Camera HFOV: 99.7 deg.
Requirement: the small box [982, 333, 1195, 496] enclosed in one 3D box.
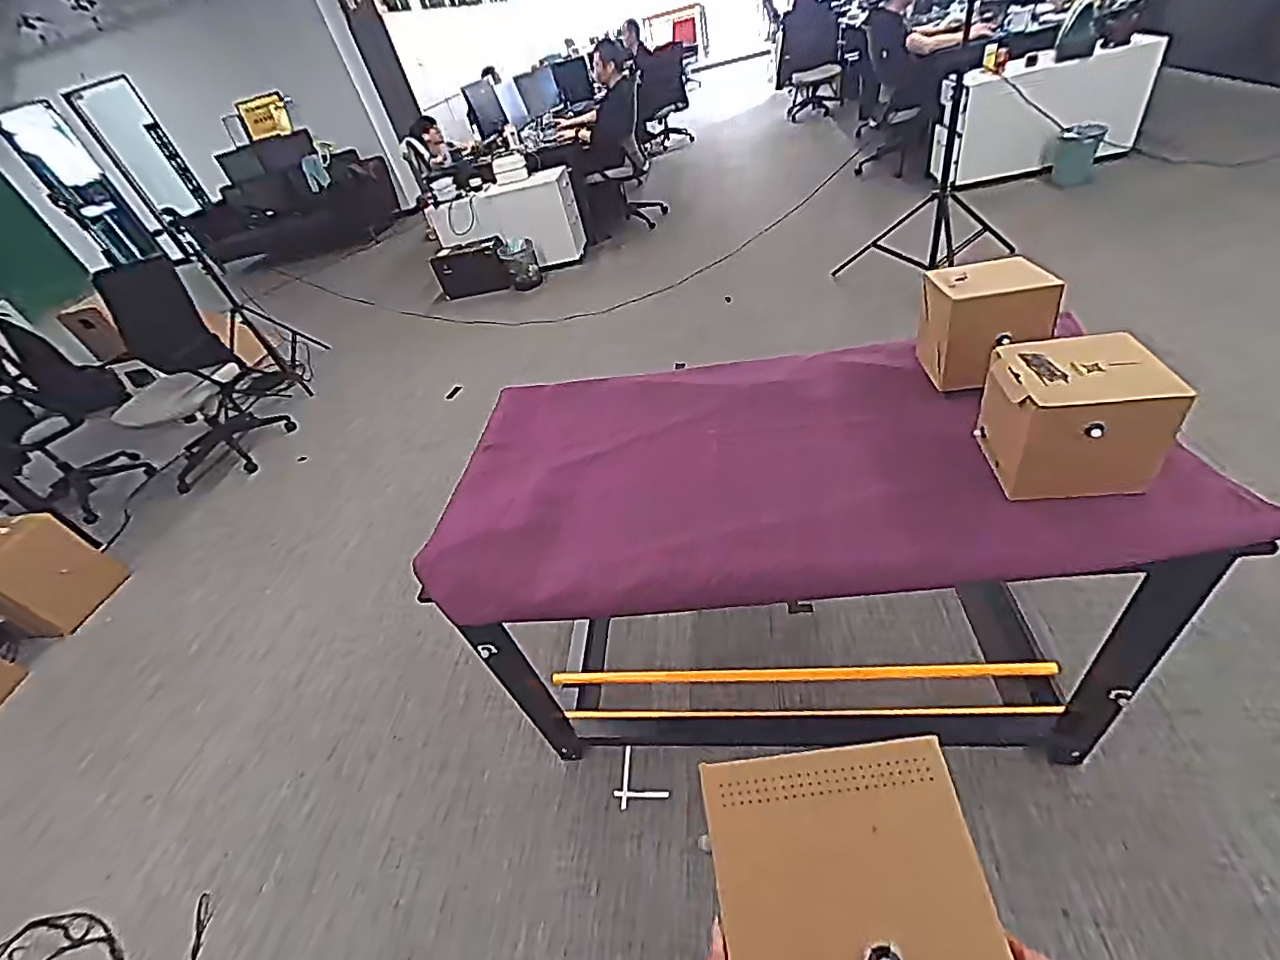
[{"bbox_3d":[0.622,-0.091,0.786,0.179,0.176,0.168,-4,41,14],"label":"small box"}]
